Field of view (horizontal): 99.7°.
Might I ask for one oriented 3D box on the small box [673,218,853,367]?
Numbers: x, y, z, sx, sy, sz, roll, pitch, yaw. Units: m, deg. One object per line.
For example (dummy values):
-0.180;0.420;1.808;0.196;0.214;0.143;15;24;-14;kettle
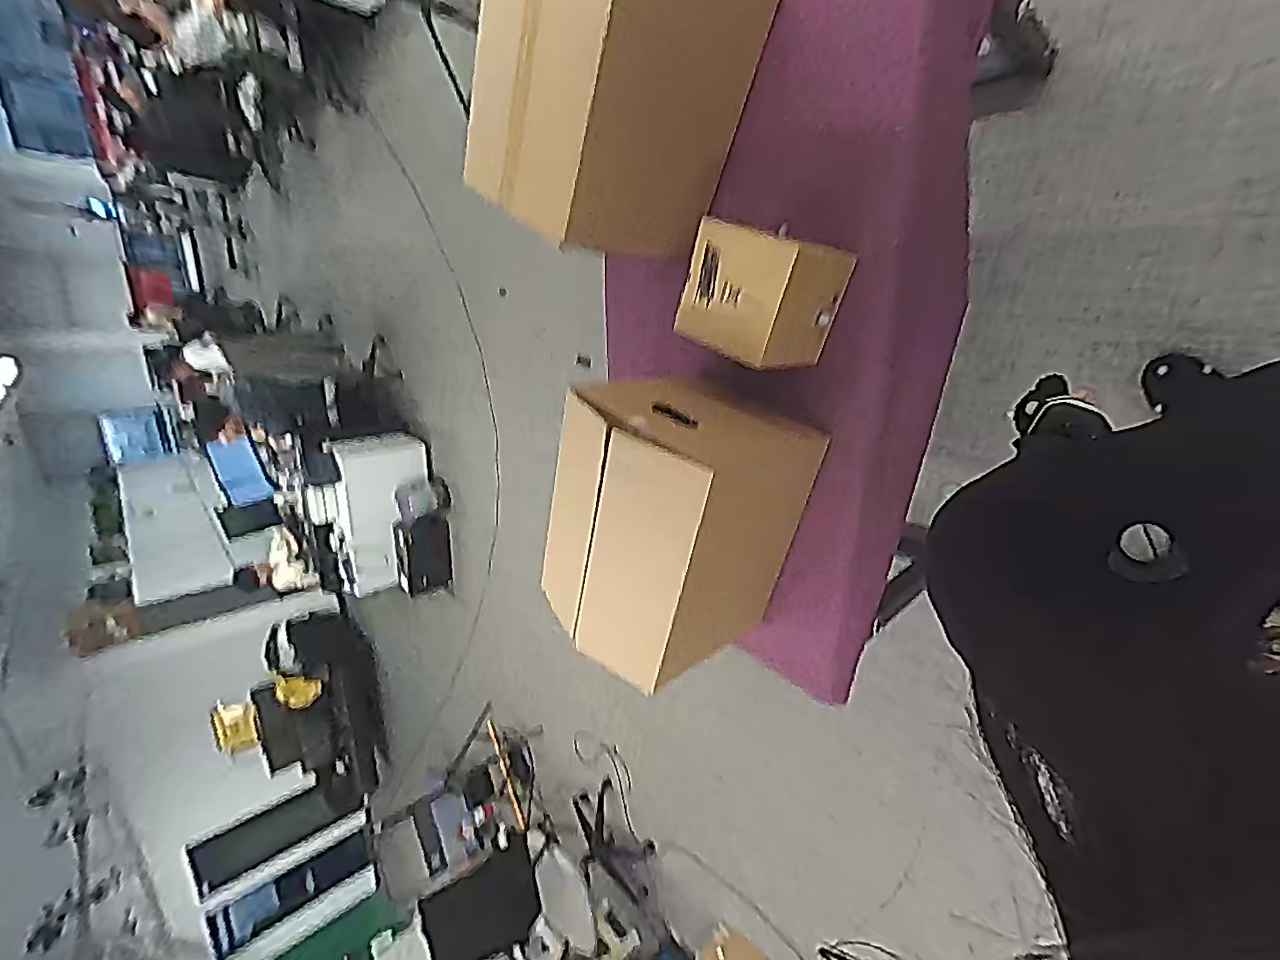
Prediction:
0.184;-0.281;0.820;0.179;0.176;0.168;37;126;35;small box
